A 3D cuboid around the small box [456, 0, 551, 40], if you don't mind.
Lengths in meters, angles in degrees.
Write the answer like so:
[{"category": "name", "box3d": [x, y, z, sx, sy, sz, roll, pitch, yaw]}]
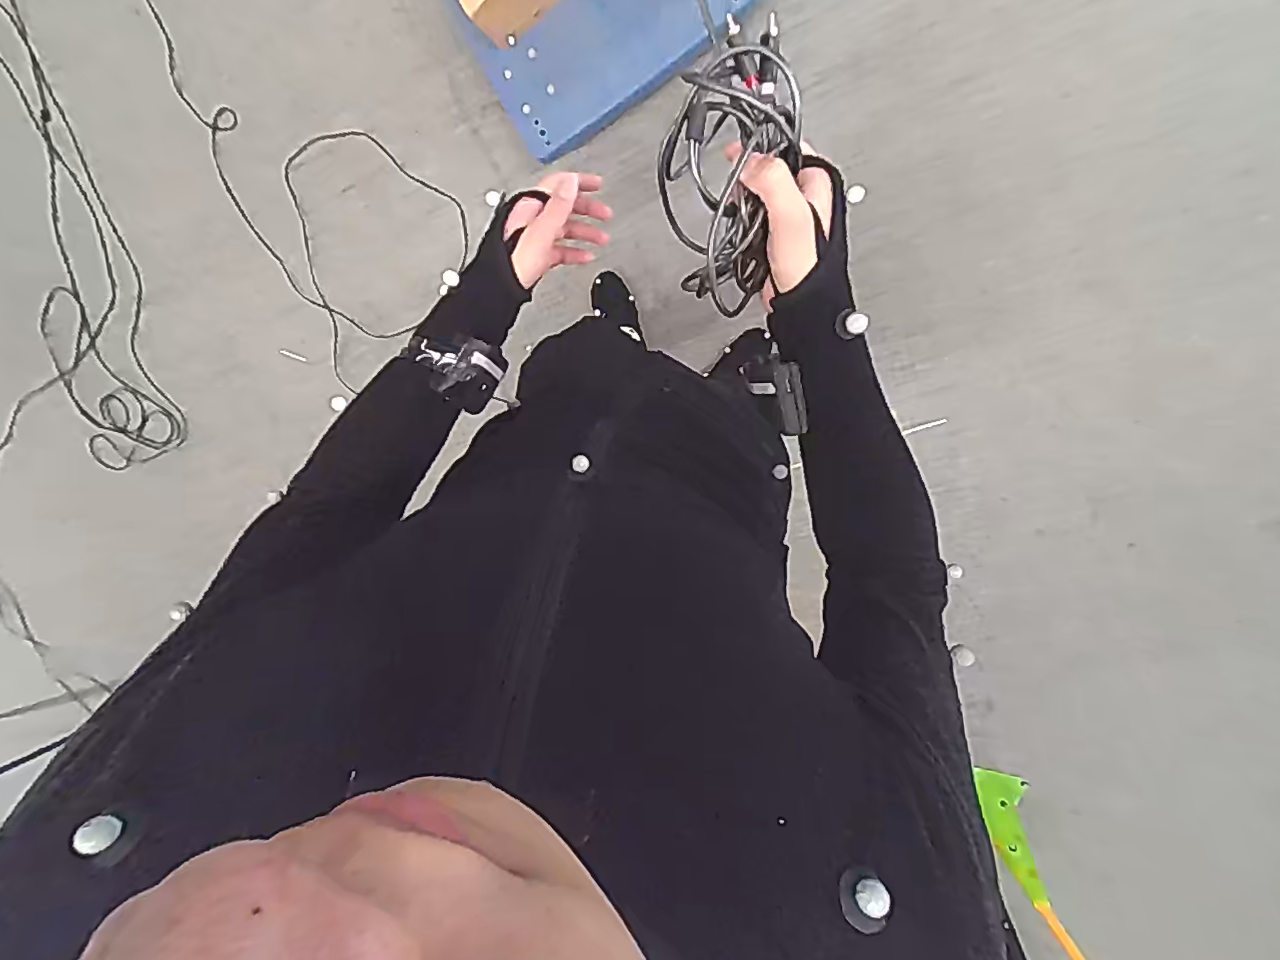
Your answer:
[{"category": "small box", "box3d": [-0.297, -1.024, 1.070, 0.168, 0.176, 0.179, -28, 102, 18]}]
